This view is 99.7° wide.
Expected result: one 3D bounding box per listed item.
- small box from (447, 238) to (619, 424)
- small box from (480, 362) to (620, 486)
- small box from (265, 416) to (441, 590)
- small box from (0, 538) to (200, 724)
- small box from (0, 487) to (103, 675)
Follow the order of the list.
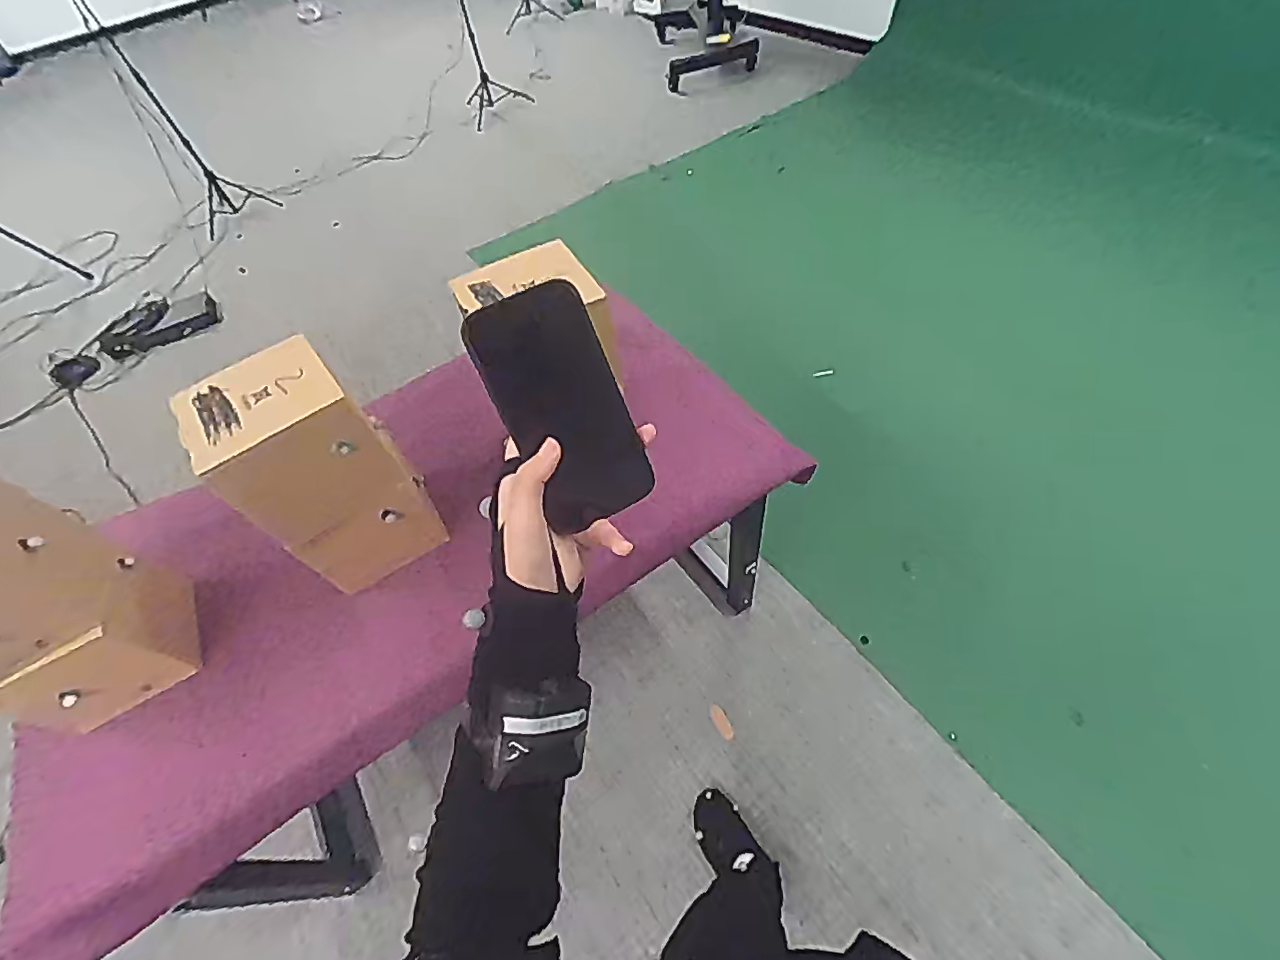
[{"bbox_3d":[-0.148,-0.210,0.782,0.179,0.176,0.168,-26,55,-11],"label":"small box"},{"bbox_3d":[-0.143,-0.121,0.921,0.179,0.176,0.168,-26,55,-9],"label":"small box"},{"bbox_3d":[-0.435,0.039,0.847,0.179,0.176,0.168,-31,56,-13],"label":"small box"},{"bbox_3d":[-0.771,0.222,0.767,0.168,0.176,0.179,-30,56,-13],"label":"small box"},{"bbox_3d":[-0.796,0.122,0.639,0.168,0.176,0.179,-35,58,-17],"label":"small box"}]
